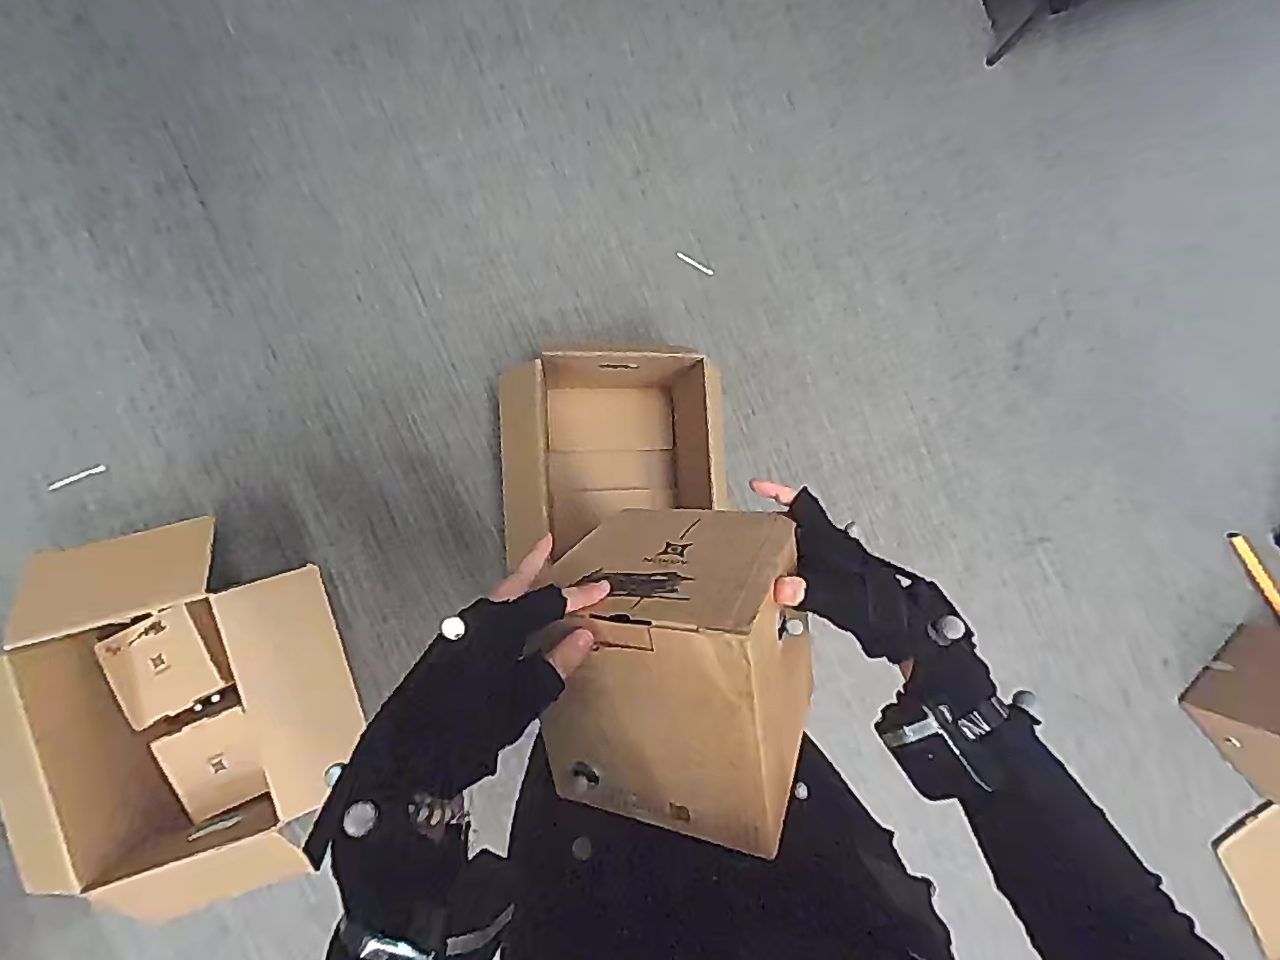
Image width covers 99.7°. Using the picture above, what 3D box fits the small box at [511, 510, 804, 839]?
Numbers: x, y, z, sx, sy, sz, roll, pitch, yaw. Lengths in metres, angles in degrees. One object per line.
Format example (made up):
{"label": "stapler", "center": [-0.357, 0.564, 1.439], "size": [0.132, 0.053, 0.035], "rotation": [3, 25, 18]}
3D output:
{"label": "small box", "center": [0.031, 0.134, 0.427], "size": [0.168, 0.179, 0.176], "rotation": [0, 109, 26]}
